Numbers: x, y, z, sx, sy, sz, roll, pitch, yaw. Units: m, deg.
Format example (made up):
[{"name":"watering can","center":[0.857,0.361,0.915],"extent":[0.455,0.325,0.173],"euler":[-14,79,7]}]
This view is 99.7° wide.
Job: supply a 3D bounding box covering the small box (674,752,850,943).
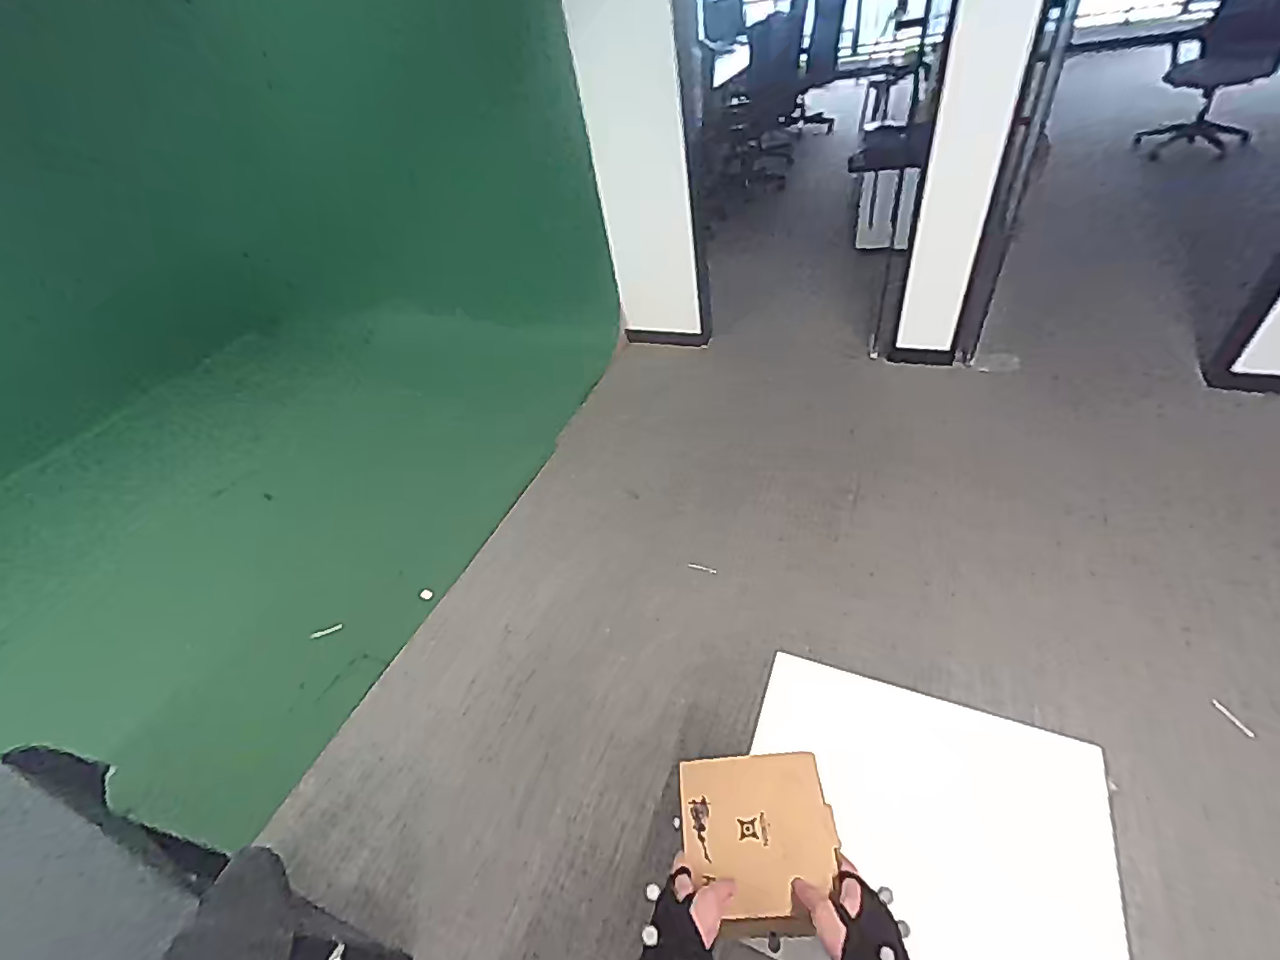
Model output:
[{"name":"small box","center":[0.141,0.459,0.674],"extent":[0.179,0.176,0.168],"euler":[-7,43,5]}]
